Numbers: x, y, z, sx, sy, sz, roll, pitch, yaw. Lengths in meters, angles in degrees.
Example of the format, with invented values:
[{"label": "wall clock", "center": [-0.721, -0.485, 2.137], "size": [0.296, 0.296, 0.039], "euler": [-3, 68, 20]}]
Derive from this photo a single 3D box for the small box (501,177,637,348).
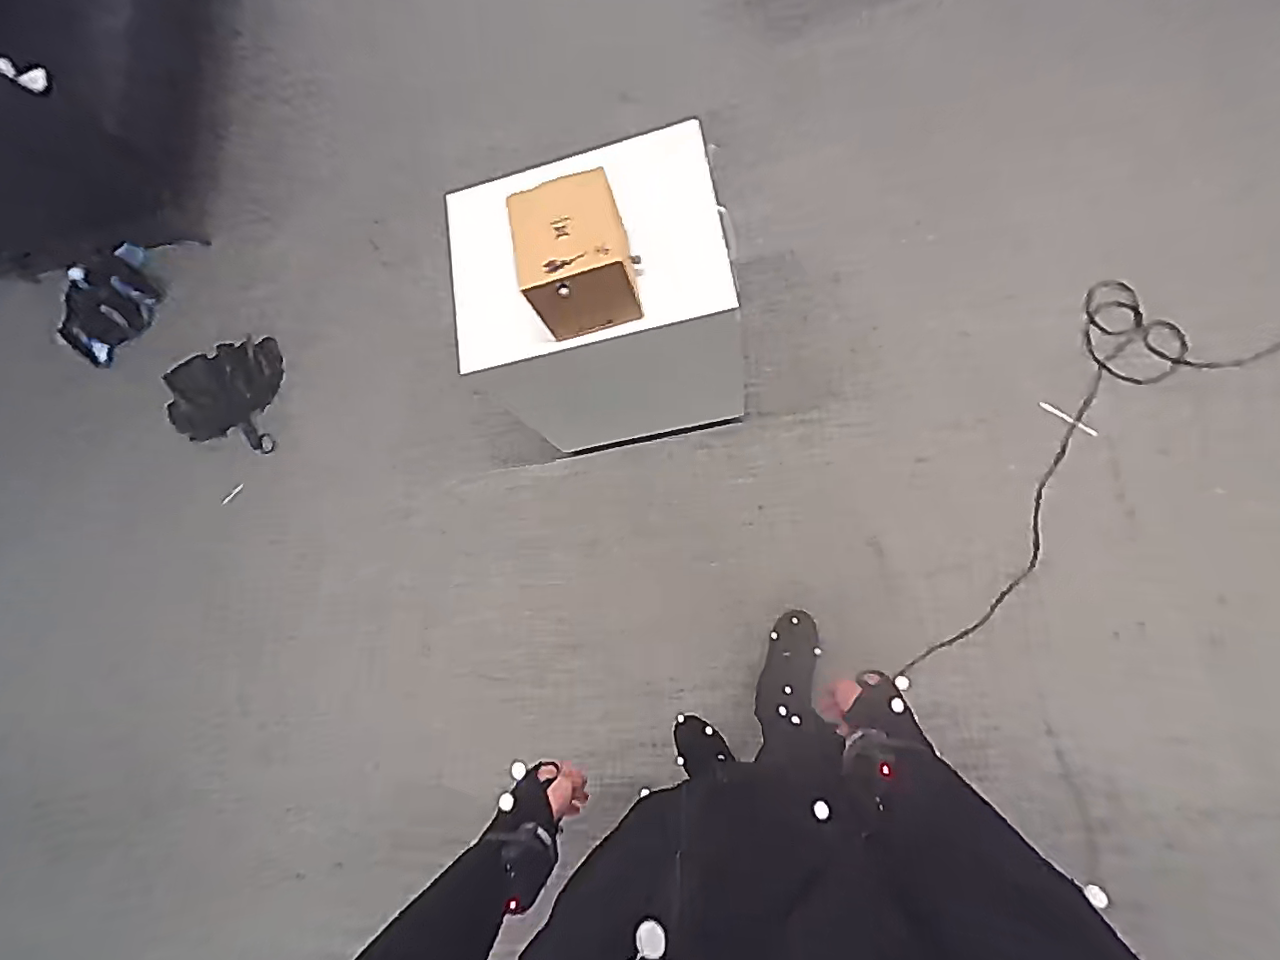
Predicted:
[{"label": "small box", "center": [-0.112, -0.350, 0.898], "size": [0.168, 0.176, 0.179], "euler": [-15, 73, 8]}]
